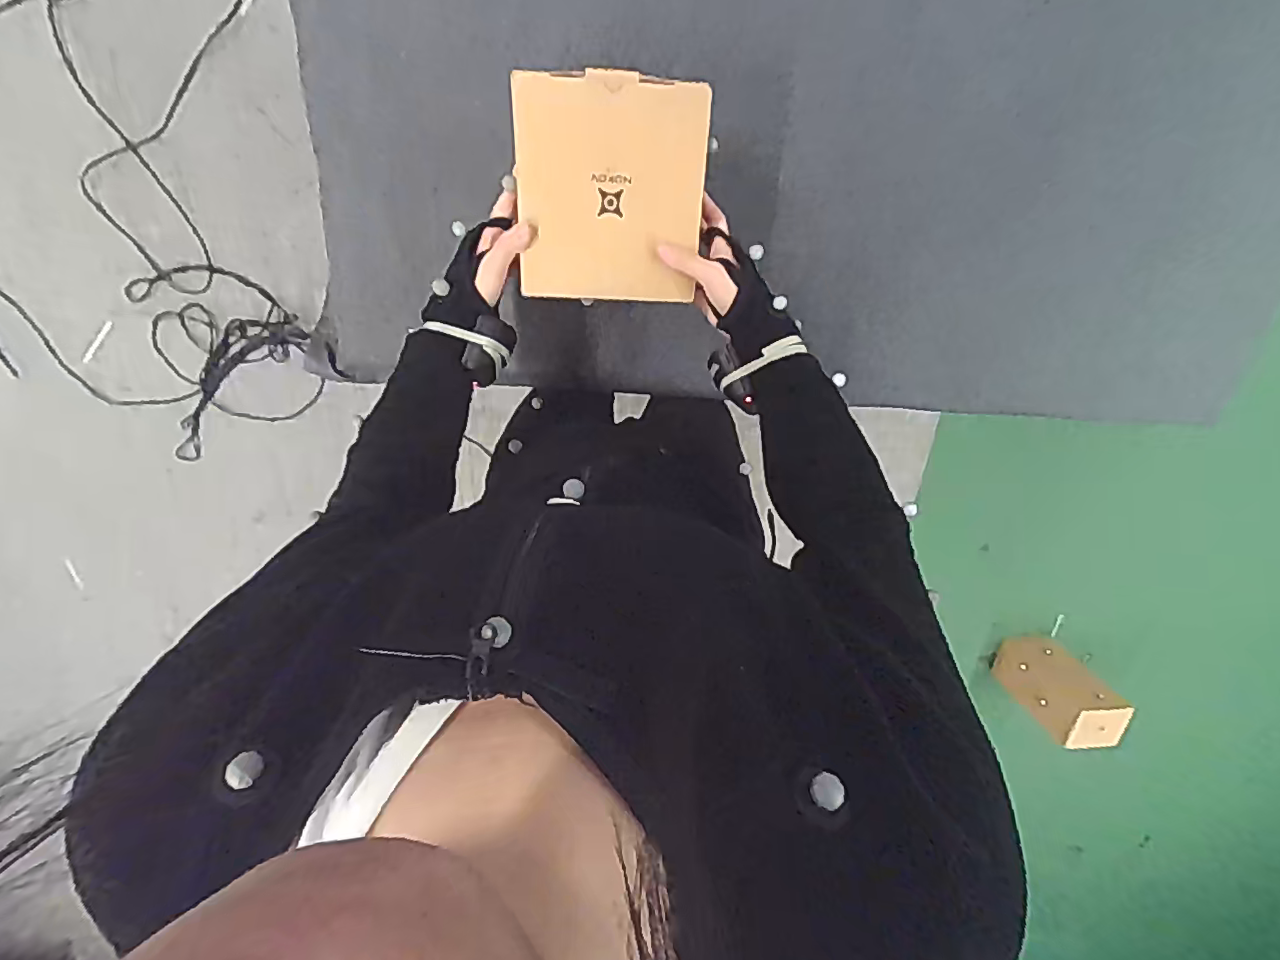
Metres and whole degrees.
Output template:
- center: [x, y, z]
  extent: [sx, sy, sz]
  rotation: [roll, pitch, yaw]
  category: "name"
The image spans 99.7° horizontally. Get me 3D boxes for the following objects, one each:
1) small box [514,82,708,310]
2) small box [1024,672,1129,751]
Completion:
- center: [-0.031, -0.280, 0.556]
  extent: [0.168, 0.176, 0.179]
  rotation: [1, 114, -4]
  category: "small box"
- center: [1.398, 0.741, 1.743]
  extent: [0.179, 0.176, 0.168]
  rotation: [-2, 114, -4]
  category: "small box"
